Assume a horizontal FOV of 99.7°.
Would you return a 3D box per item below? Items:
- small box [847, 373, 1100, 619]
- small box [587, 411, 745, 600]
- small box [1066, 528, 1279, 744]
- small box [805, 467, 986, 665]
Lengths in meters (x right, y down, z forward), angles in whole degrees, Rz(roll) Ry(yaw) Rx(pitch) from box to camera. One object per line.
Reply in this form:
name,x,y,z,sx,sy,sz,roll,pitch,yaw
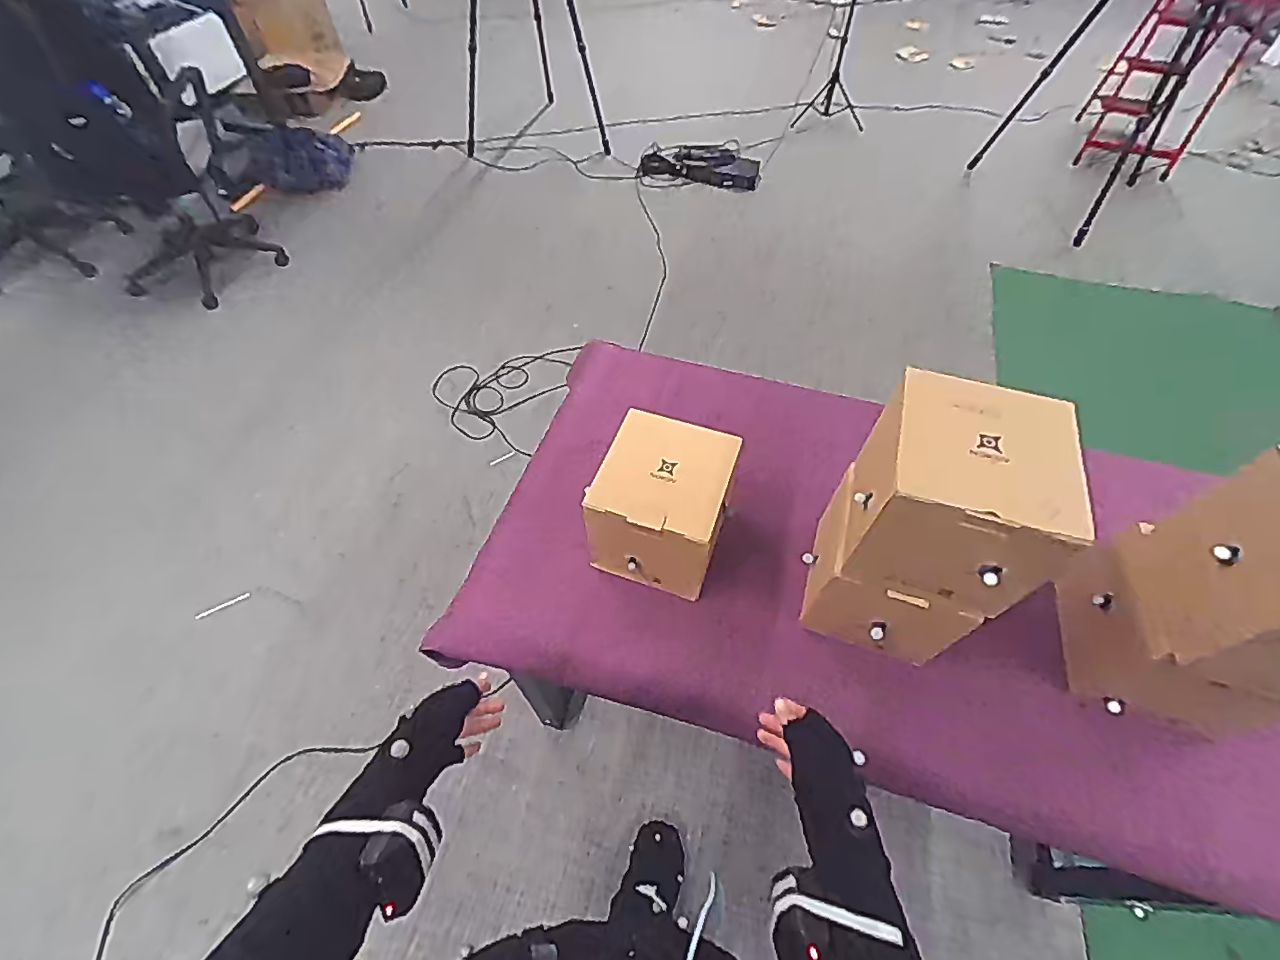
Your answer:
small box,0.332,0.022,0.571,0.168,0.176,0.179,17,56,11
small box,0.036,0.039,0.760,0.168,0.176,0.179,17,57,11
small box,0.653,0.192,0.647,0.168,0.176,0.179,18,57,11
small box,0.324,0.117,0.703,0.168,0.176,0.179,17,56,11
